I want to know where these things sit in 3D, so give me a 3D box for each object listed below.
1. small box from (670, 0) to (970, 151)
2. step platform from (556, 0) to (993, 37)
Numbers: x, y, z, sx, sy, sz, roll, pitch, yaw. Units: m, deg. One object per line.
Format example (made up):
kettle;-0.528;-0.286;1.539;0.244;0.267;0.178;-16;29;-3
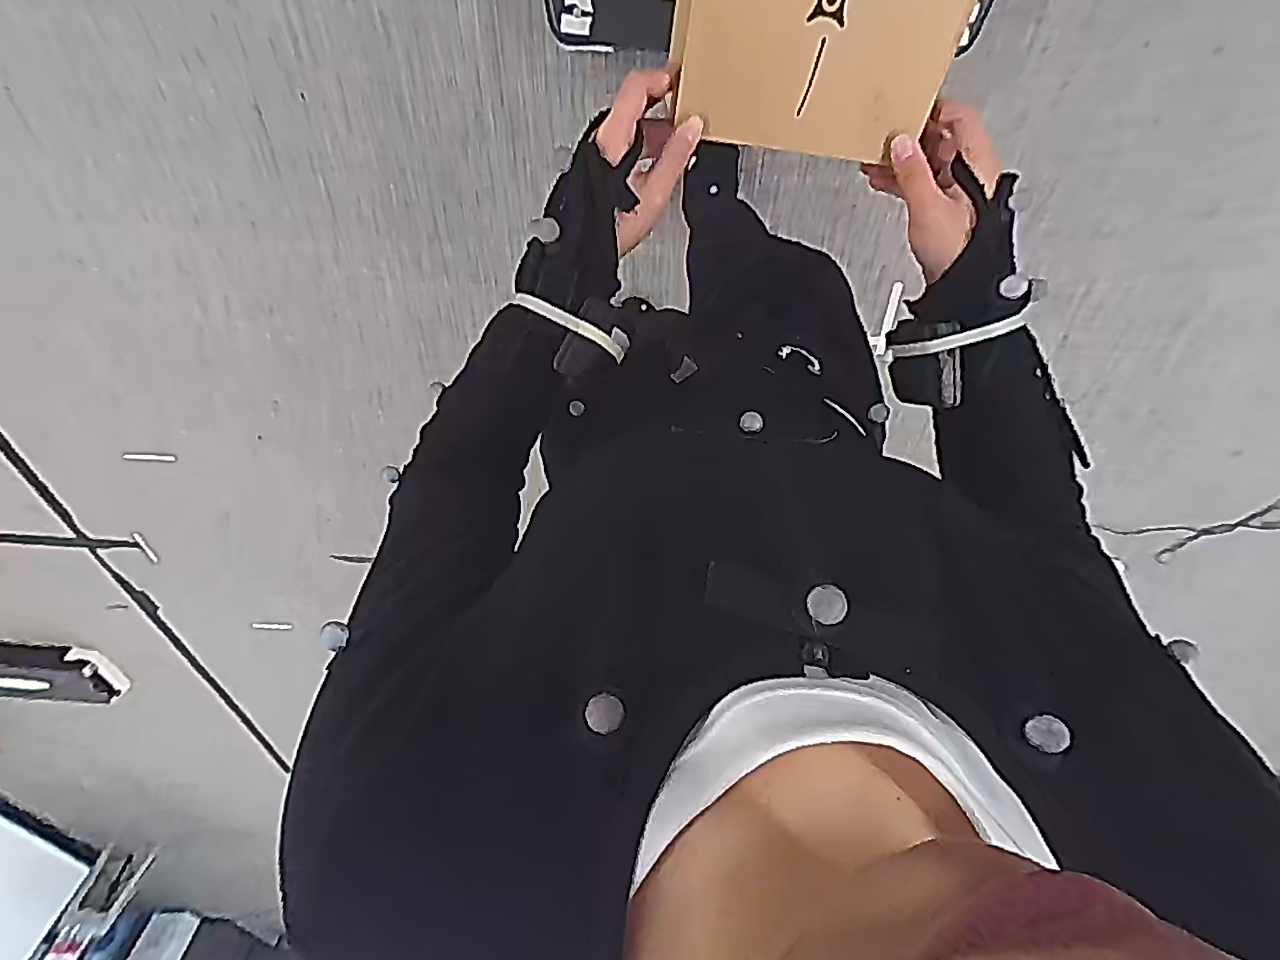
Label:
small box;0.114;-0.351;0.366;0.168;0.176;0.179;6;133;-5
step platform;0.200;-0.837;0.791;0.684;0.204;0.286;3;128;1
